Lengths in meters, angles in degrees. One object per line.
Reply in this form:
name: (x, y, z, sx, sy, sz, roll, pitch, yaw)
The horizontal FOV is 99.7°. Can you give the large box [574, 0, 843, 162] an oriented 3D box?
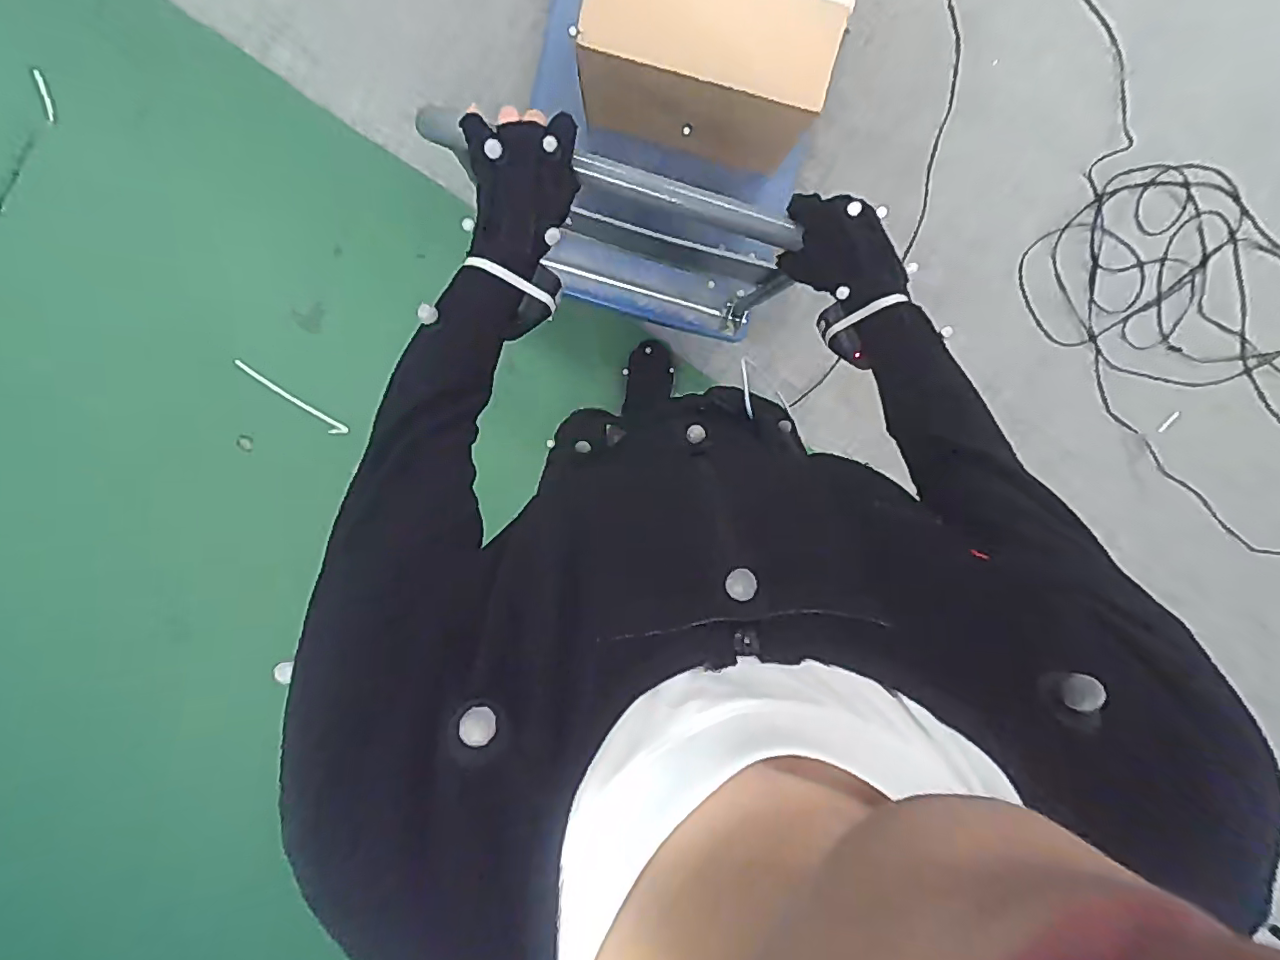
large box: (0.120, -0.820, 0.963, 0.408, 0.320, 0.320, 12, 102, -4)
